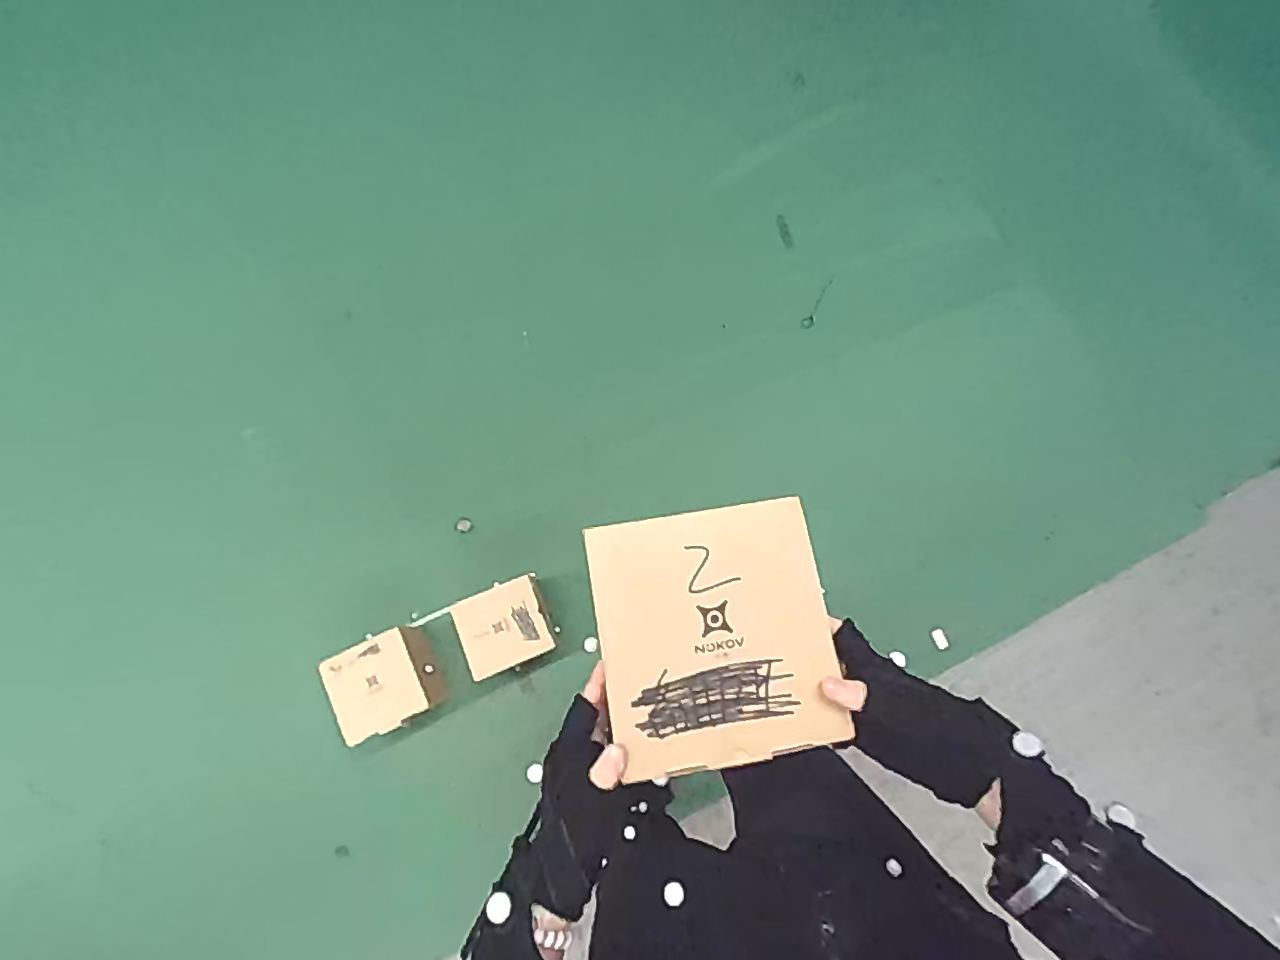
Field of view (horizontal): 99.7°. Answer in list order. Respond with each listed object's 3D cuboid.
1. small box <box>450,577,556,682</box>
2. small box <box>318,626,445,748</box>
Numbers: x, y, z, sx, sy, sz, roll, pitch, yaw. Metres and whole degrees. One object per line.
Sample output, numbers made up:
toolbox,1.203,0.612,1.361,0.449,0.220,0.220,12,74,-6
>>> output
small box,-0.294,0.324,1.194,0.179,0.176,0.168,-21,79,-10
small box,-0.535,0.425,1.145,0.168,0.176,0.179,-25,81,-11
